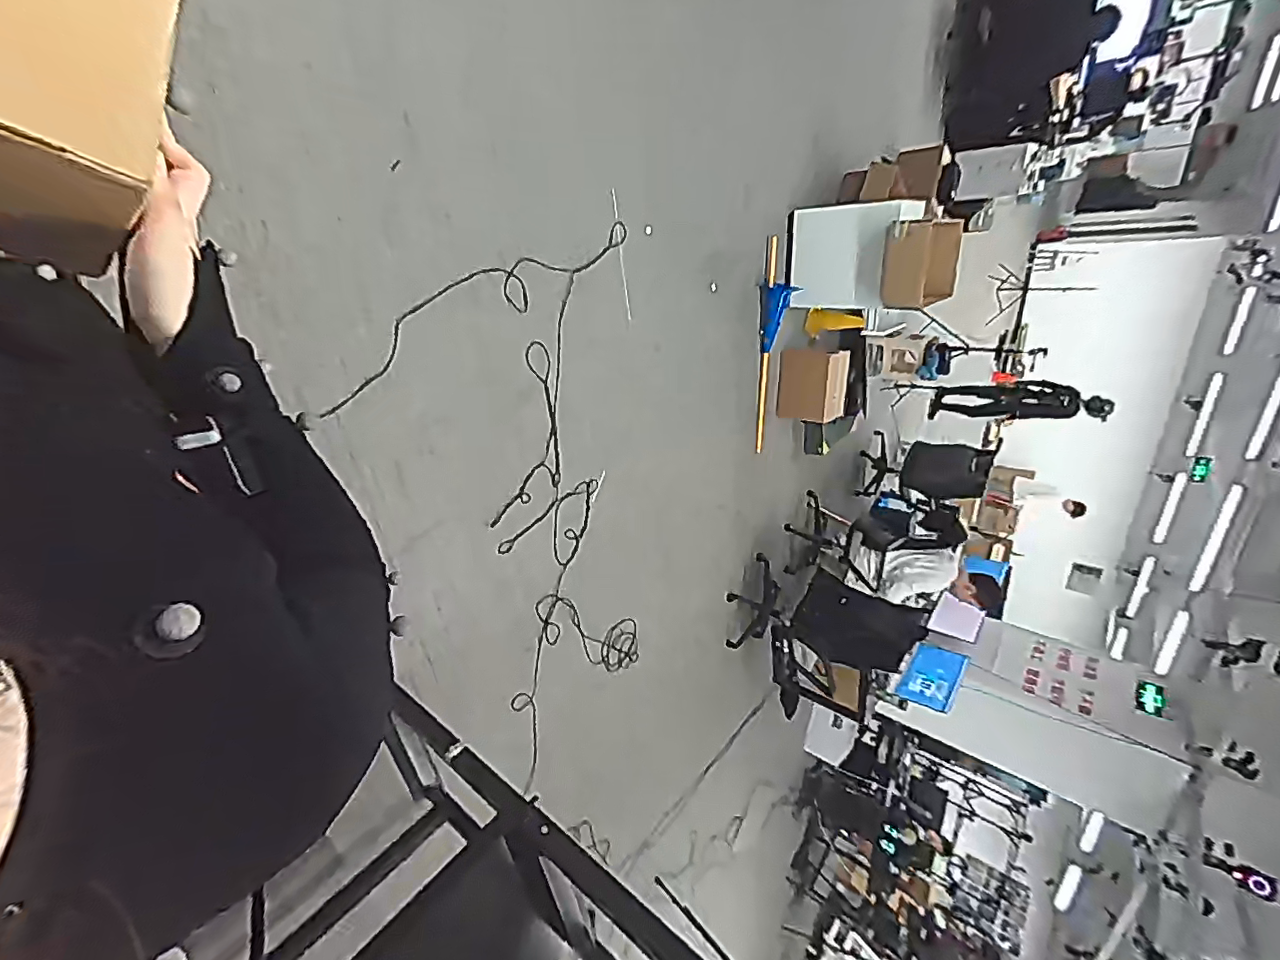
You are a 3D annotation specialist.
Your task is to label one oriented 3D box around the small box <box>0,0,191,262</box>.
[{"bbox_3d":[-0.362,-0.245,0.278,0.168,0.176,0.179,10,81,-52],"label":"small box"}]
